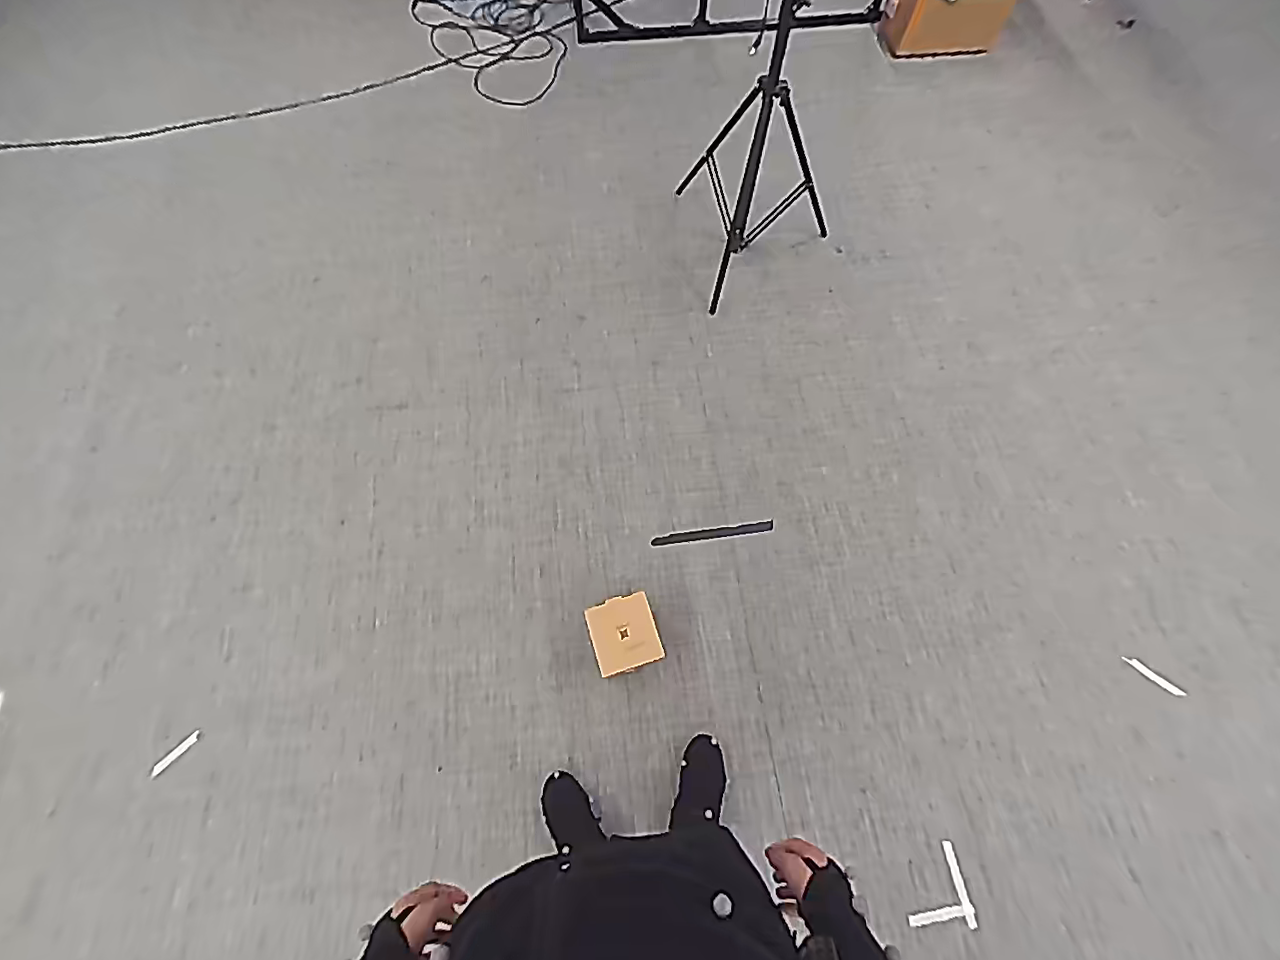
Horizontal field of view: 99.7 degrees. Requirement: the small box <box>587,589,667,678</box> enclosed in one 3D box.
[{"bbox_3d":[-0.035,0.408,1.423,0.168,0.176,0.179,-17,68,-6],"label":"small box"}]
